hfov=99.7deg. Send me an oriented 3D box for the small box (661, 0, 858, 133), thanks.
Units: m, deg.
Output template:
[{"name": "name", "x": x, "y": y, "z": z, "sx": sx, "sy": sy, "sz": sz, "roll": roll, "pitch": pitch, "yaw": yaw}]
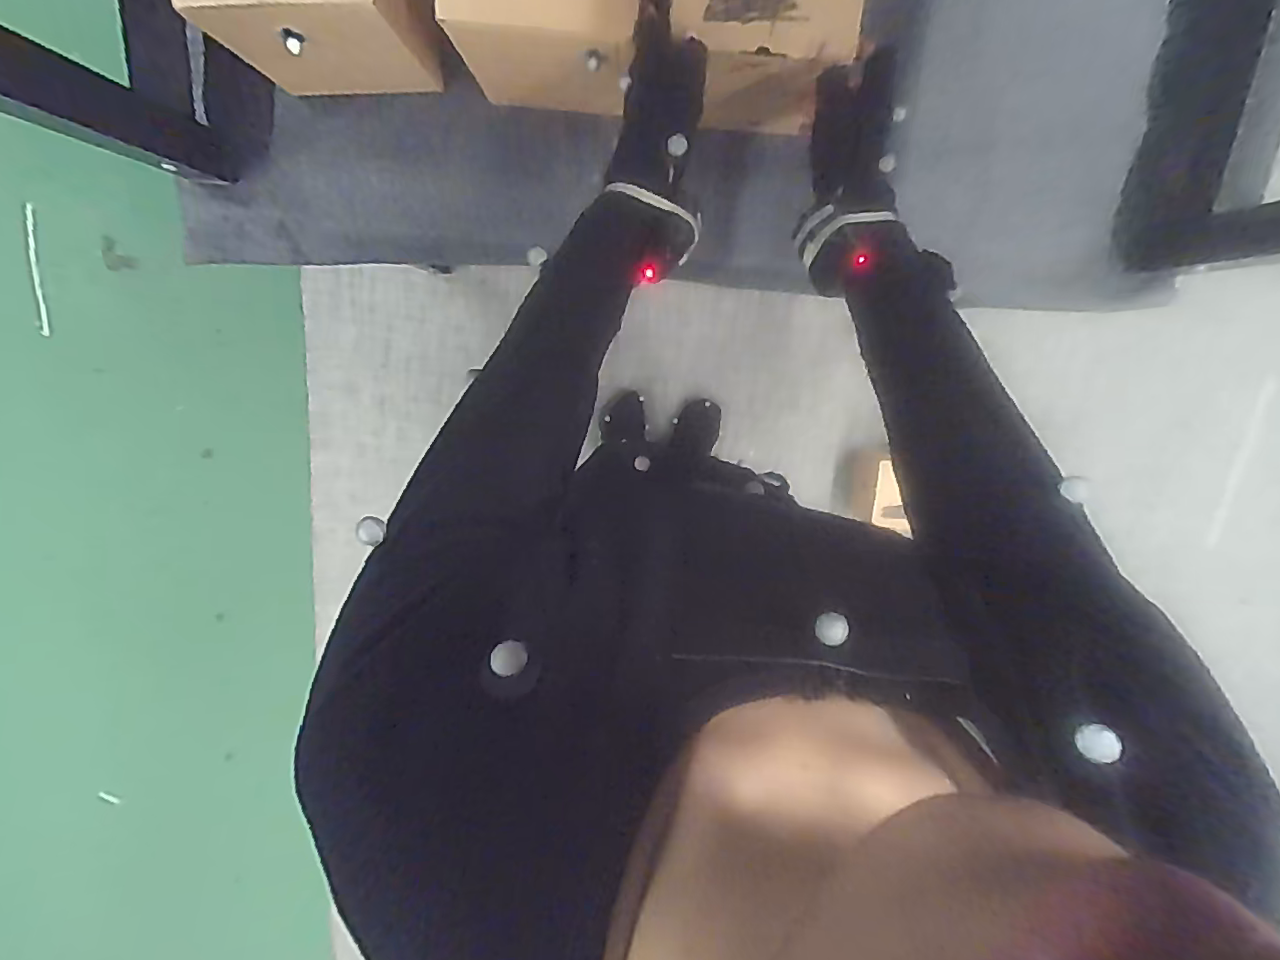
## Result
[{"name": "small box", "x": 0.109, "y": -0.467, "z": 0.528, "sx": 0.168, "sy": 0.176, "sz": 0.179, "roll": 4, "pitch": 103, "yaw": -1}]
